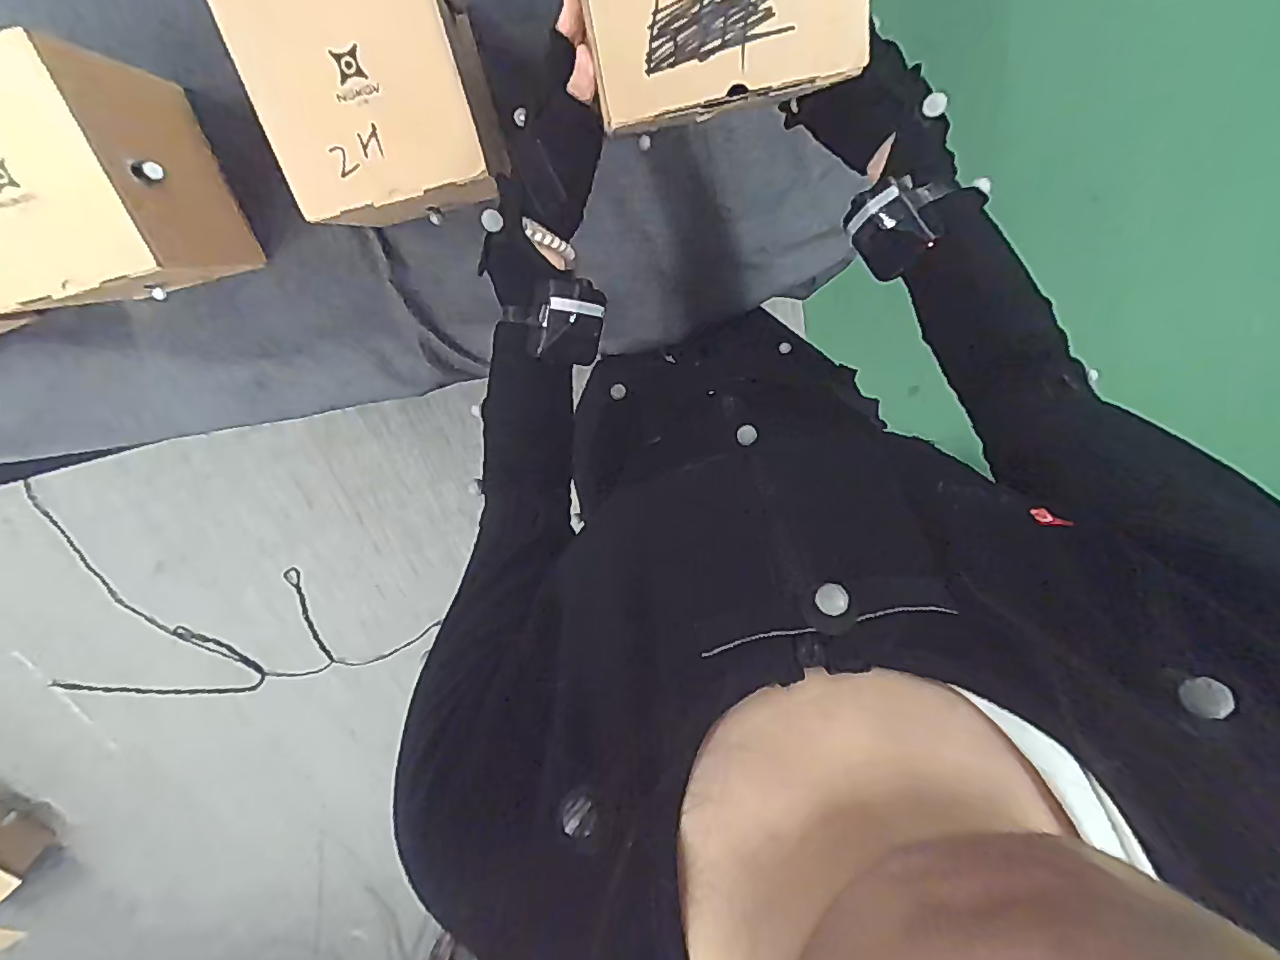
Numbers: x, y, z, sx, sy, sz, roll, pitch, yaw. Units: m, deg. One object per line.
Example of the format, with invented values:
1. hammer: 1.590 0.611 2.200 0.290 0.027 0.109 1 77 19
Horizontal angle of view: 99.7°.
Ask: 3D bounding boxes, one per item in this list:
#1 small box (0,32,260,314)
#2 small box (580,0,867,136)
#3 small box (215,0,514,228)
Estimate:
1. small box: -0.516 -0.270 0.508 0.168 0.176 0.179 -14 115 1
2. small box: 0.042 -0.349 0.369 0.168 0.176 0.179 -11 120 1
3. small box: -0.227 -0.344 0.498 0.168 0.176 0.179 -13 114 1
